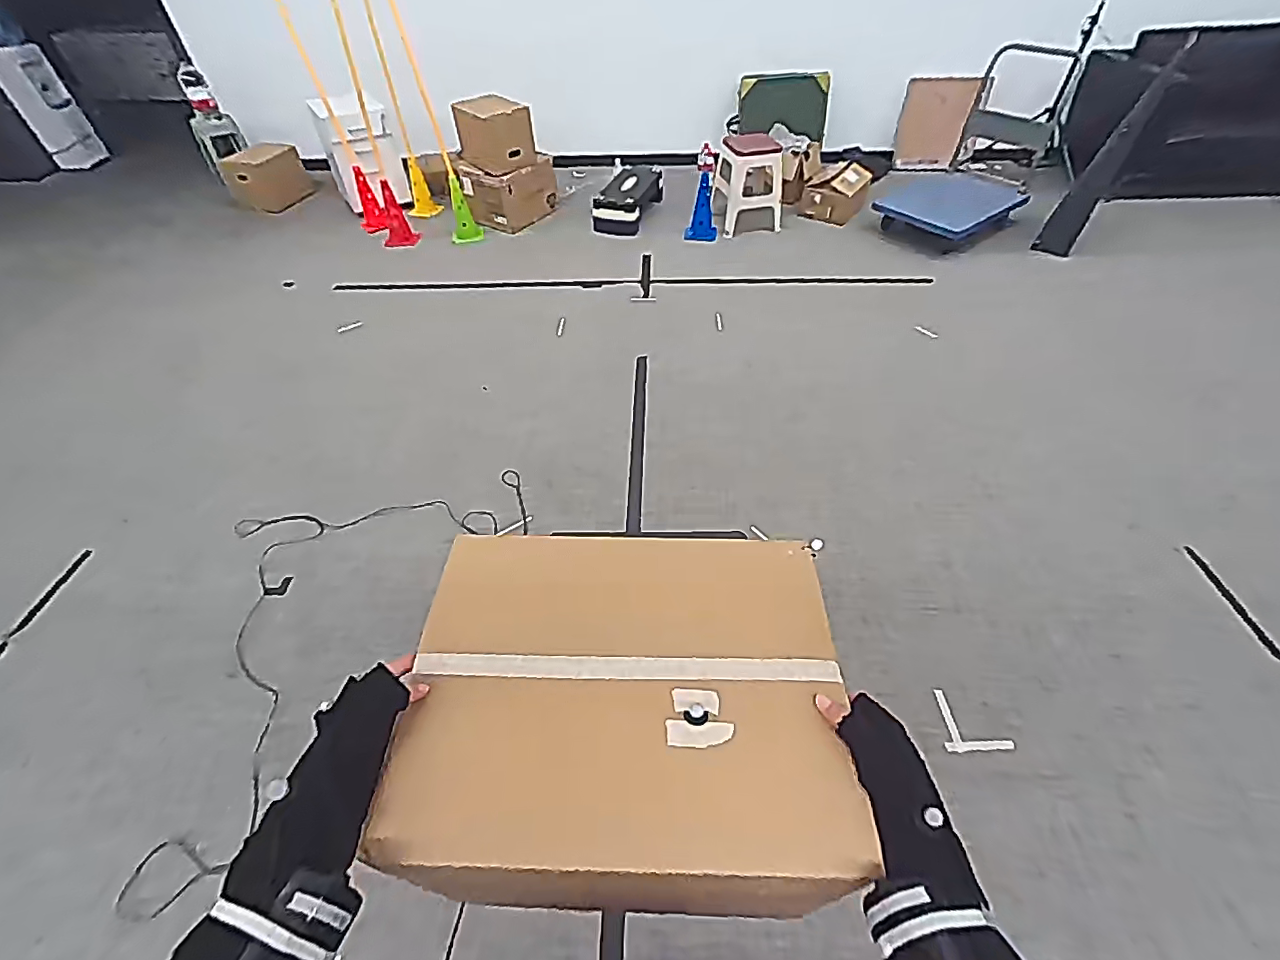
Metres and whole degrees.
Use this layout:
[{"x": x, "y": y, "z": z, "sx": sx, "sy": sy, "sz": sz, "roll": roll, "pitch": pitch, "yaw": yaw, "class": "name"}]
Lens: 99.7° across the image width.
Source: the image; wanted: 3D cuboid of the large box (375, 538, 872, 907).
[{"x": -0.011, "y": 0.284, "z": 0.634, "sx": 0.408, "sy": 0.320, "sz": 0.320, "roll": 1, "pitch": 47, "yaw": 2, "class": "large box"}]
